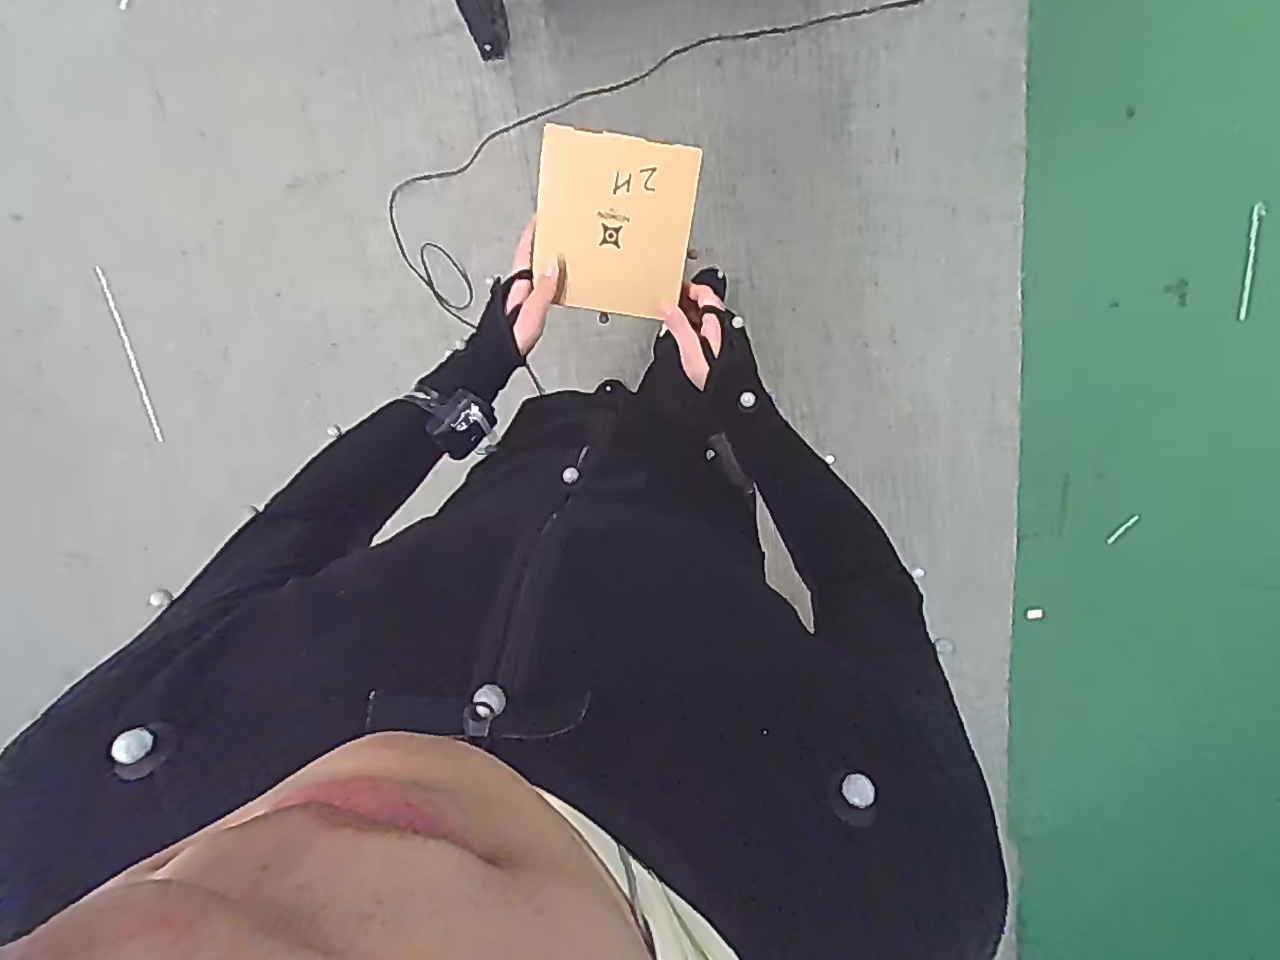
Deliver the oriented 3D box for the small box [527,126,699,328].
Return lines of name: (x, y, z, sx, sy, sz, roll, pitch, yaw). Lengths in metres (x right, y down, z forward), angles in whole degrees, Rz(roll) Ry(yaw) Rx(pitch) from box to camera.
small box: (-0.030, -0.287, 0.646, 0.168, 0.176, 0.179, 8, 108, -2)
